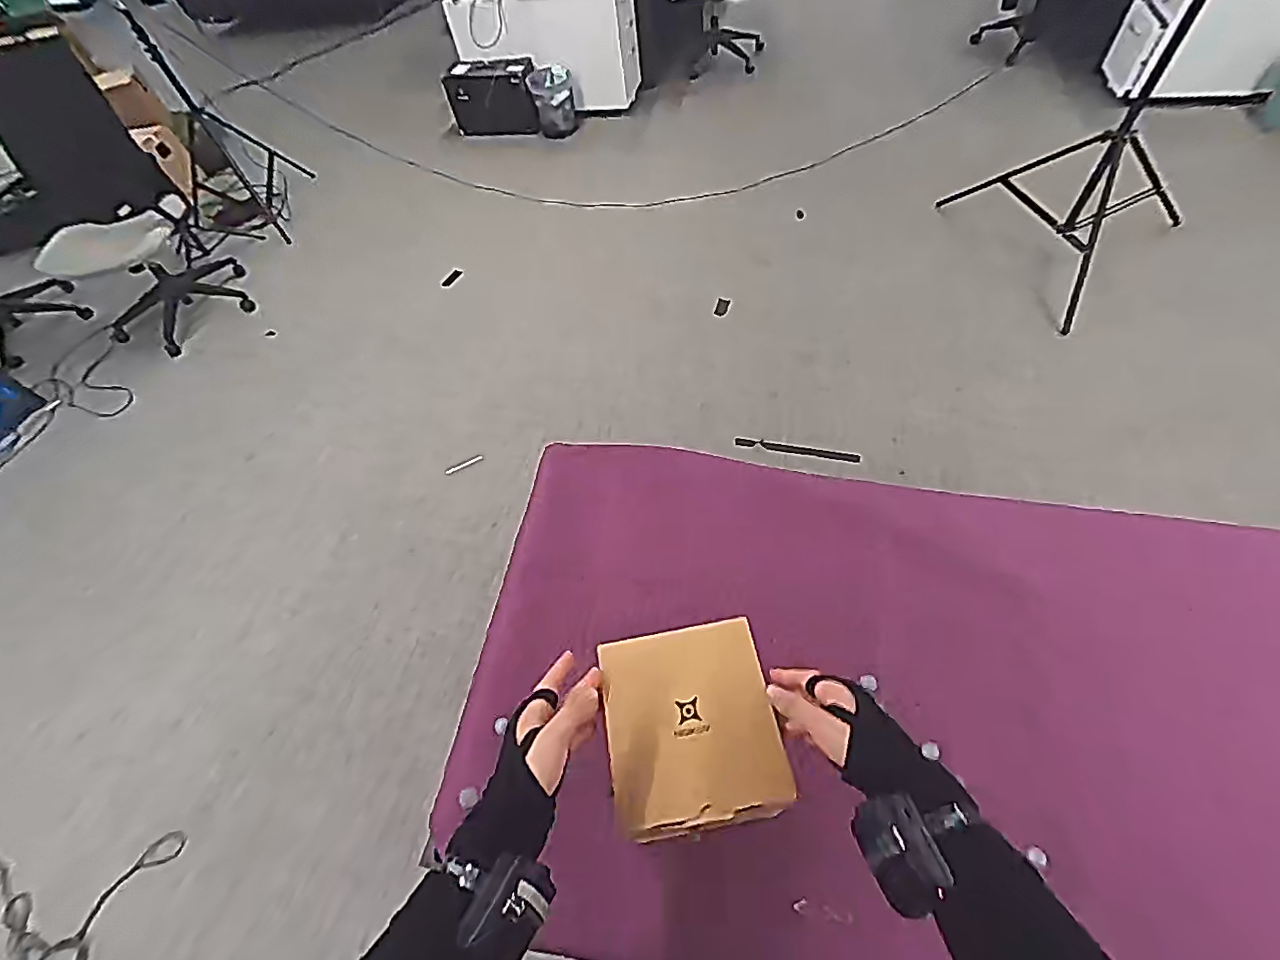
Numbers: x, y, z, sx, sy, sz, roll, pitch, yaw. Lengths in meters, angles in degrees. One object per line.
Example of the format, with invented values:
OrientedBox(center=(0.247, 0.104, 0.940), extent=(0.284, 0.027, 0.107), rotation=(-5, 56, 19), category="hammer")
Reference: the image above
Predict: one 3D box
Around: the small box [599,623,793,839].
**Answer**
OrientedBox(center=(0.052, 0.279, 0.594), extent=(0.168, 0.176, 0.179), rotation=(-9, 56, -1), category="small box")
